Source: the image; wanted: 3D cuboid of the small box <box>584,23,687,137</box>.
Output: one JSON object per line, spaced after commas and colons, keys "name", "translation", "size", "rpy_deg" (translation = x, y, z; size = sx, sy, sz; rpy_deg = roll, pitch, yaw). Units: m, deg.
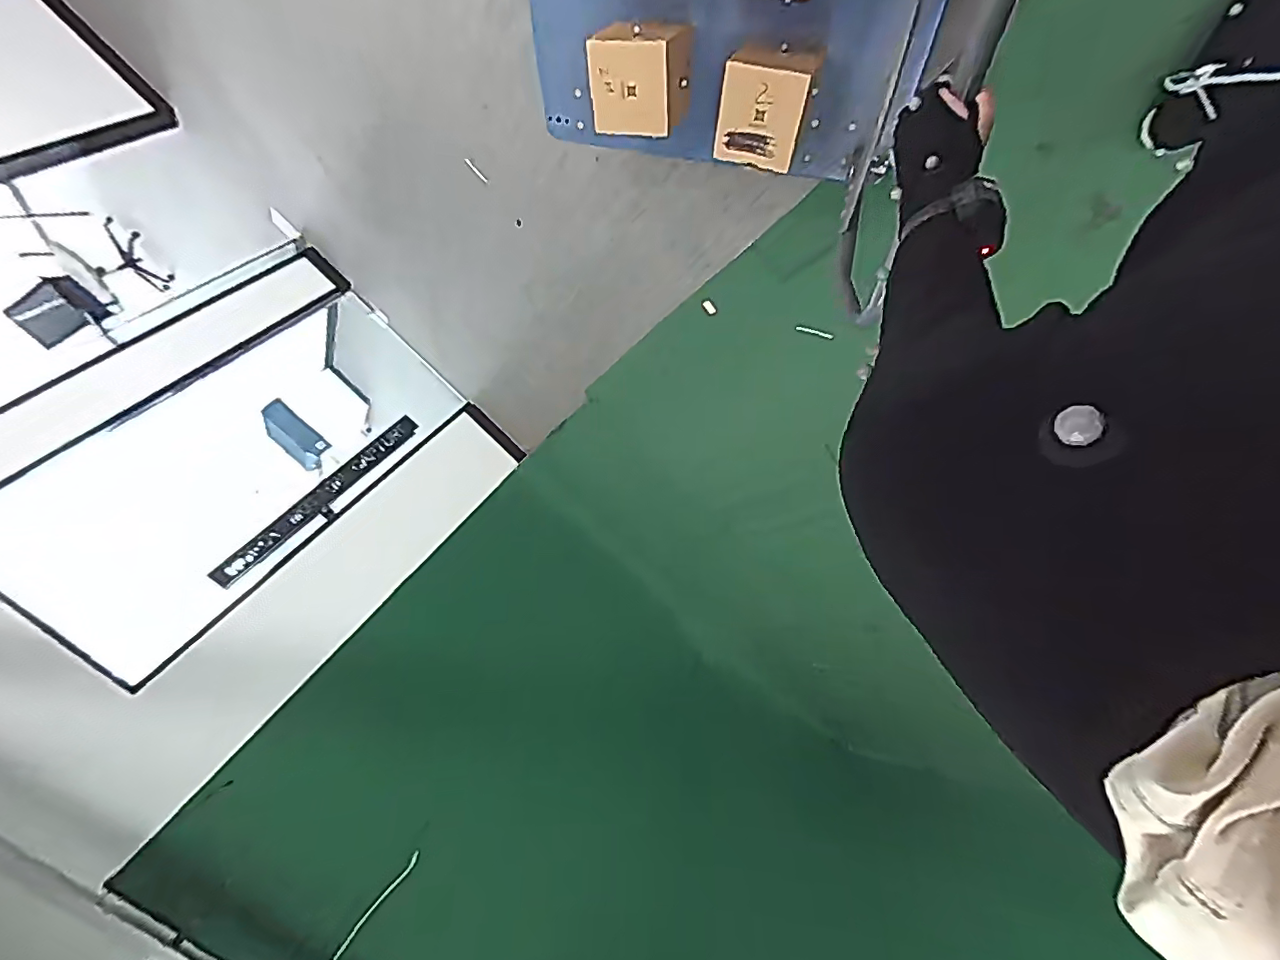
{"name": "small box", "translation": [-0.001, -0.870, 1.173], "size": [0.179, 0.176, 0.168], "rpy_deg": [14, 142, 16]}
